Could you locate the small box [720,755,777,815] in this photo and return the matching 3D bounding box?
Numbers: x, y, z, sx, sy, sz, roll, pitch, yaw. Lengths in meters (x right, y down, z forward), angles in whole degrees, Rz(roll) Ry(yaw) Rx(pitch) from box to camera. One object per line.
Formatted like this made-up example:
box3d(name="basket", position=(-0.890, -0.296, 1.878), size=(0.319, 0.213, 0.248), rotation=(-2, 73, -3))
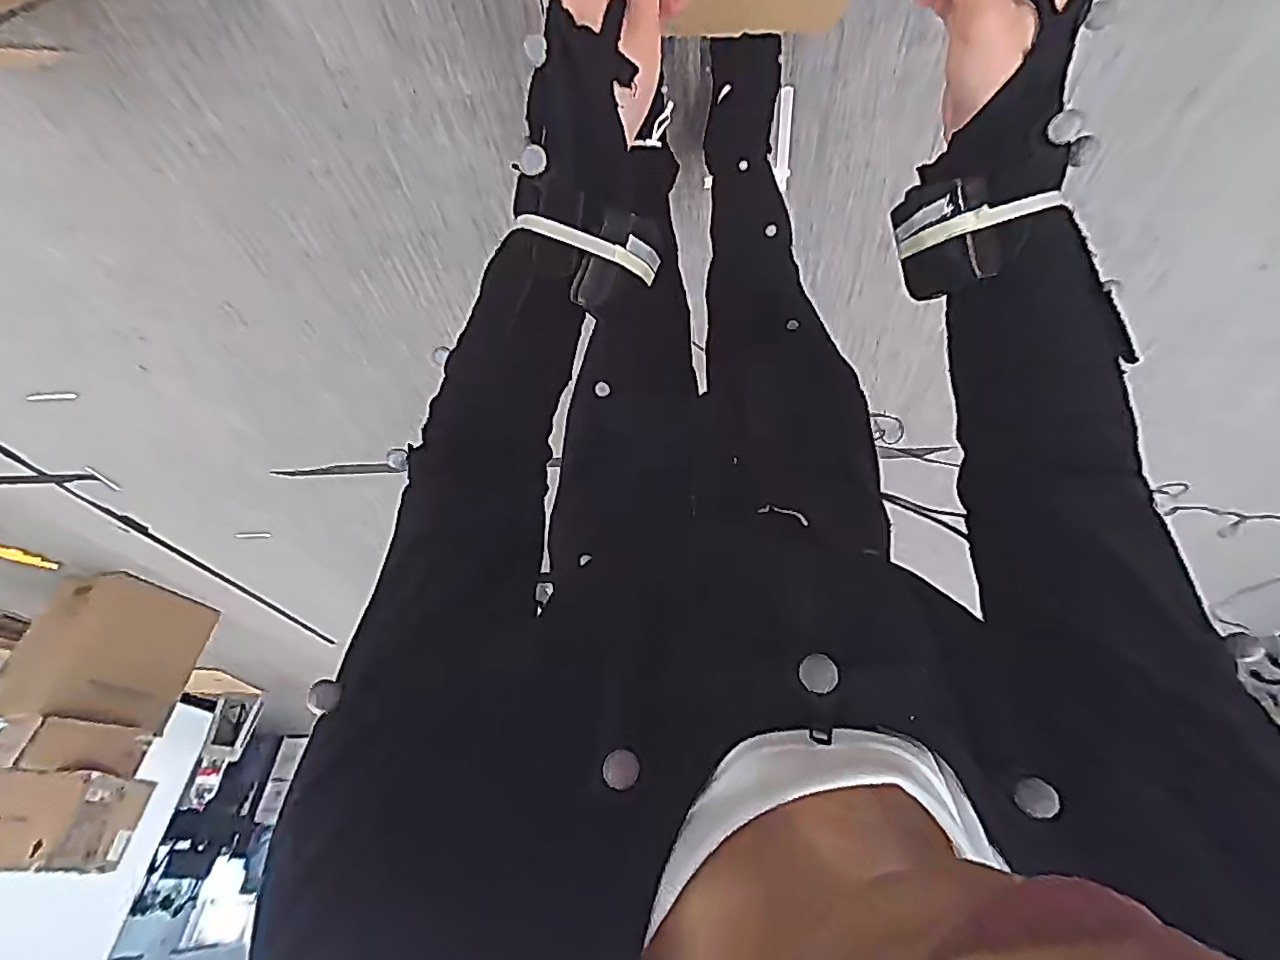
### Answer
box3d(name="small box", position=(0.378, 1.085, 1.924), size=(0.168, 0.176, 0.179), rotation=(2, 144, 1))
